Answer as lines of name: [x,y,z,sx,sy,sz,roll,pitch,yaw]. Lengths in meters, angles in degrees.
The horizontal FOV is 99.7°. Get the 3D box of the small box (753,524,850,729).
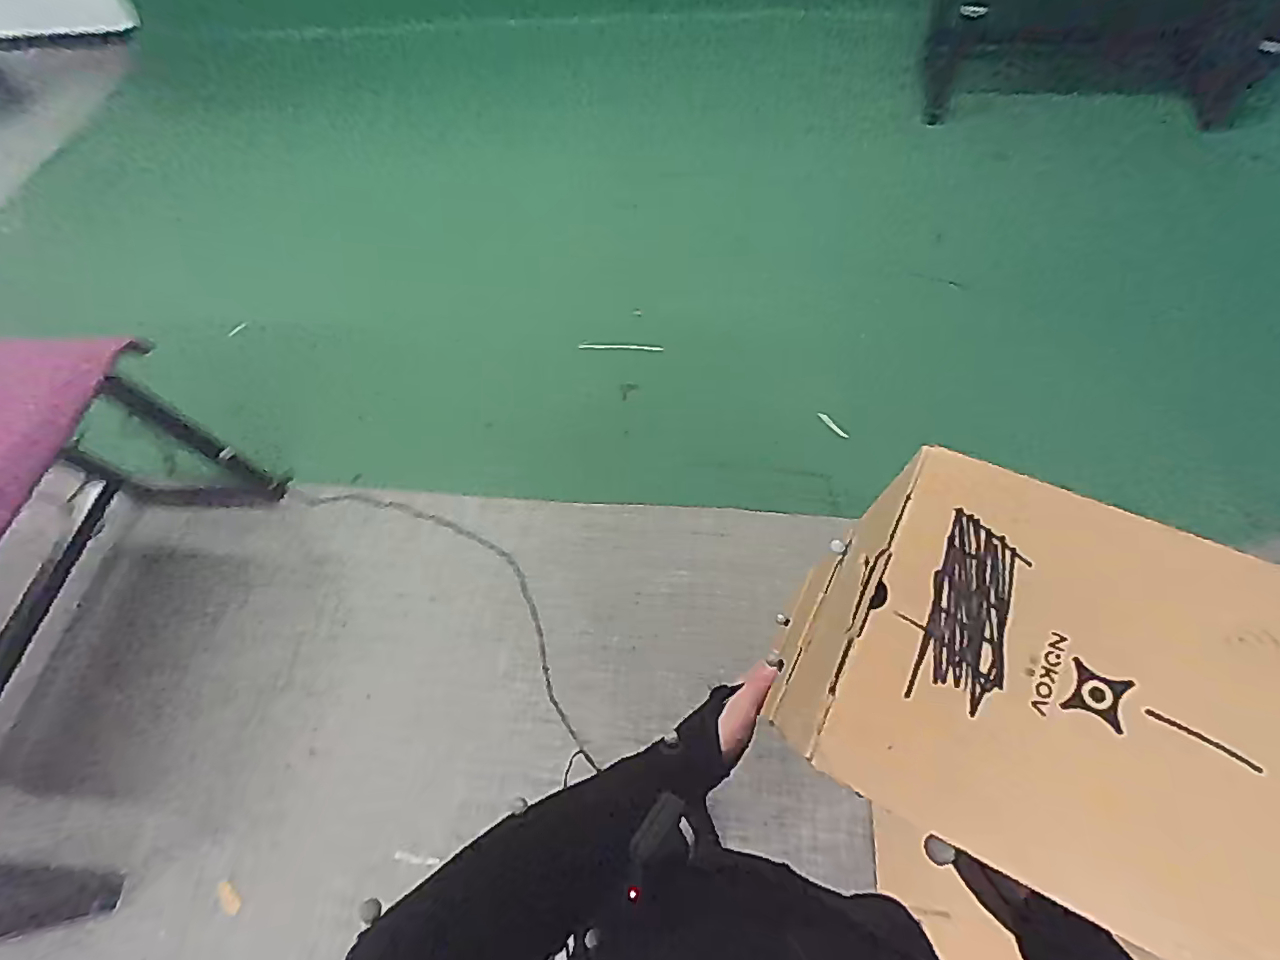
small box: [0.207,0.162,0.459,0.179,0.176,0.168,24,77,15]

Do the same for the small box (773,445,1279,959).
small box: [0.188,0.109,0.305,0.179,0.176,0.168,23,77,15]
